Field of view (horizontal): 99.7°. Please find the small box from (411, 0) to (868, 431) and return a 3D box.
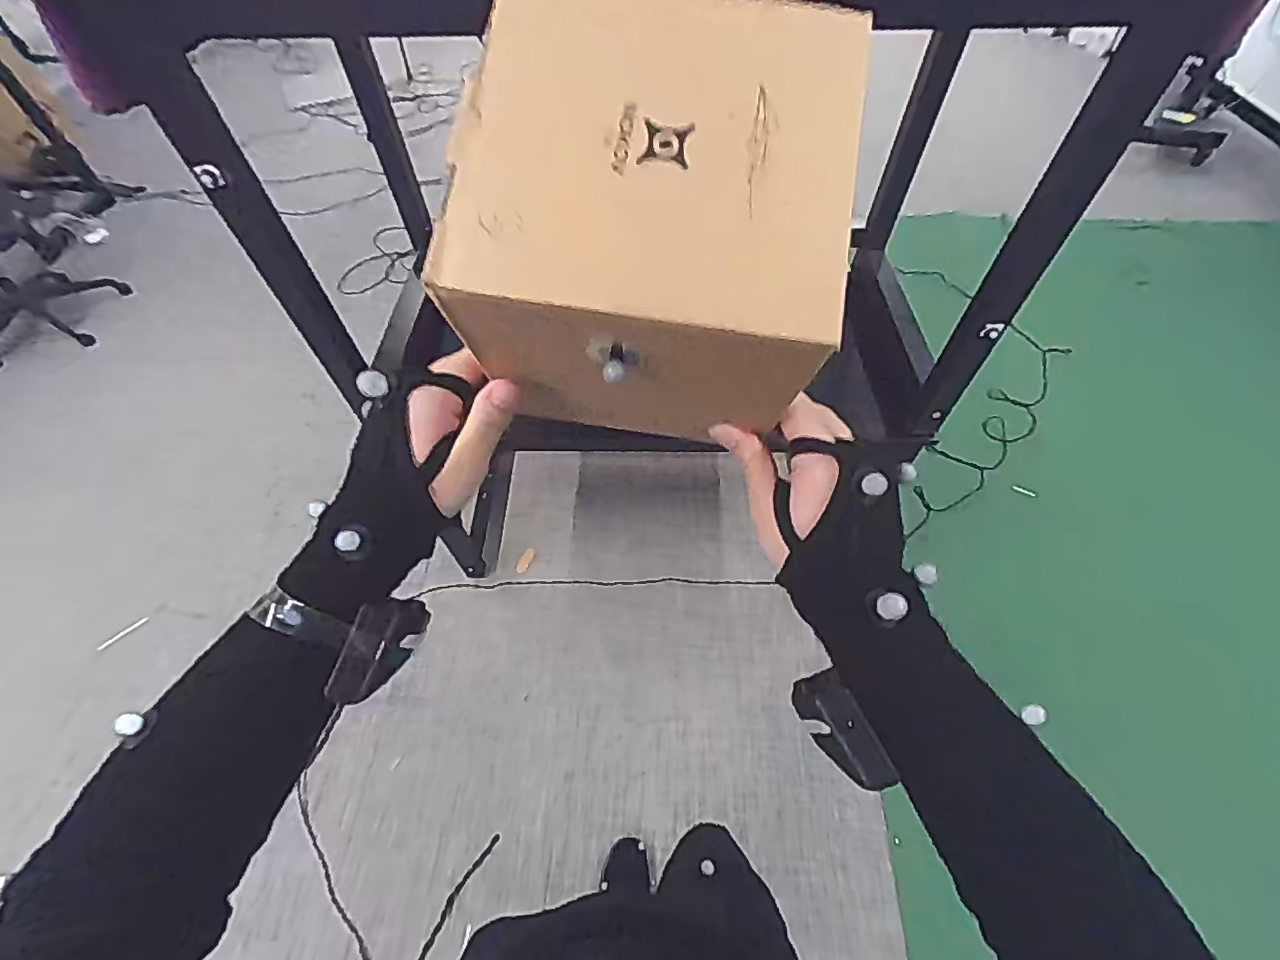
[{"bbox_3d":[0.006,-0.137,0.310,0.179,0.176,0.168,9,79,3],"label":"small box"}]
